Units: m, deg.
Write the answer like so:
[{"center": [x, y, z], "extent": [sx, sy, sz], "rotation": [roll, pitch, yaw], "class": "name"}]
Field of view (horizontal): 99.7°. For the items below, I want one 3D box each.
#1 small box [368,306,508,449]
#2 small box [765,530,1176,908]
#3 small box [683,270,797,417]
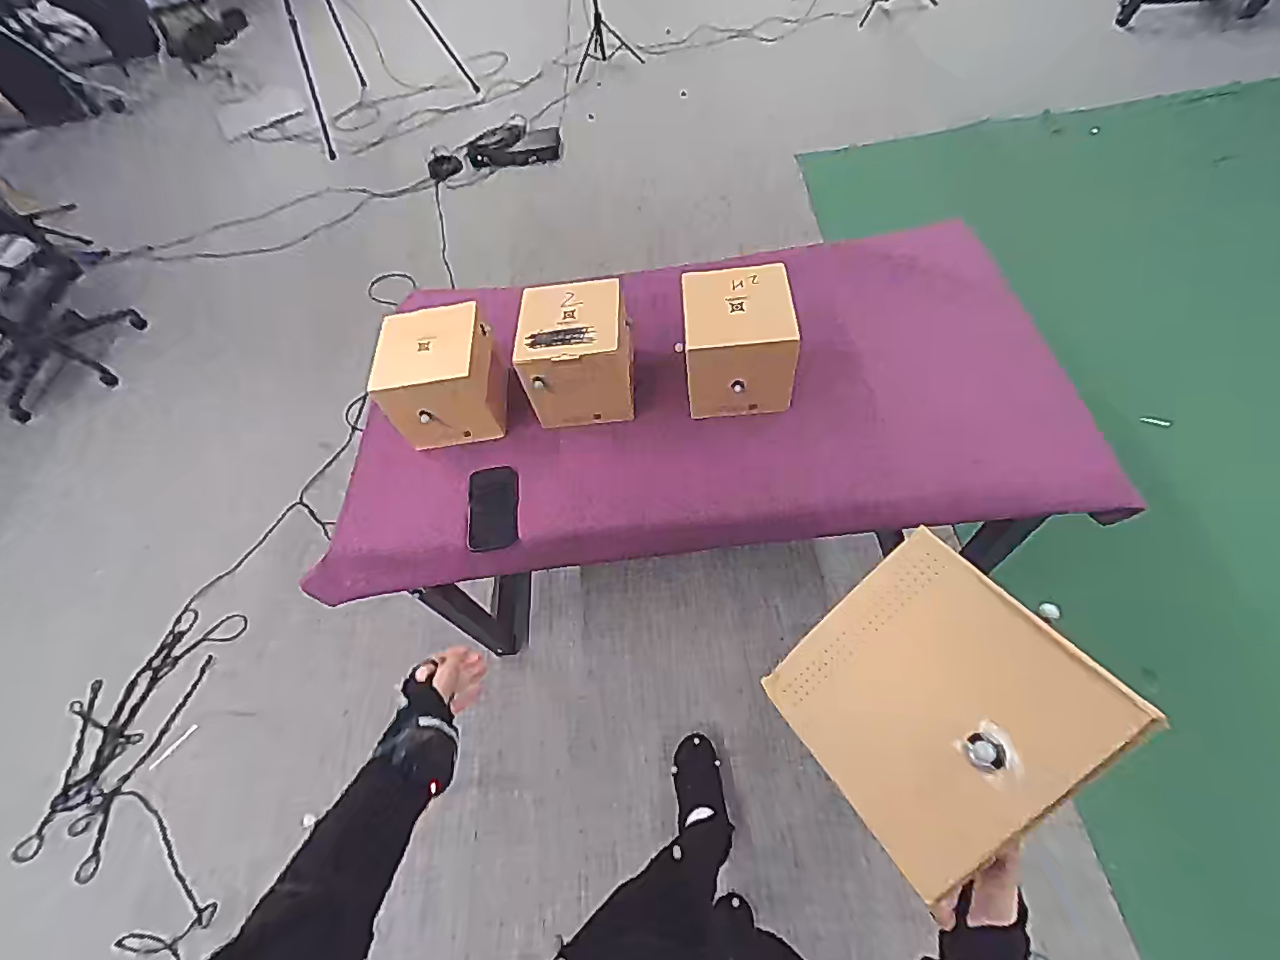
[{"center": [-0.337, -0.169, 0.941], "extent": [0.168, 0.176, 0.179], "rotation": [-9, 56, 3], "class": "small box"}, {"center": [0.230, 0.165, 0.411], "extent": [0.179, 0.168, 0.176], "rotation": [-47, 49, 10], "class": "small box"}, {"center": [0.159, -0.217, 0.896], "extent": [0.168, 0.176, 0.179], "rotation": [-3, 57, 6], "class": "small box"}]
